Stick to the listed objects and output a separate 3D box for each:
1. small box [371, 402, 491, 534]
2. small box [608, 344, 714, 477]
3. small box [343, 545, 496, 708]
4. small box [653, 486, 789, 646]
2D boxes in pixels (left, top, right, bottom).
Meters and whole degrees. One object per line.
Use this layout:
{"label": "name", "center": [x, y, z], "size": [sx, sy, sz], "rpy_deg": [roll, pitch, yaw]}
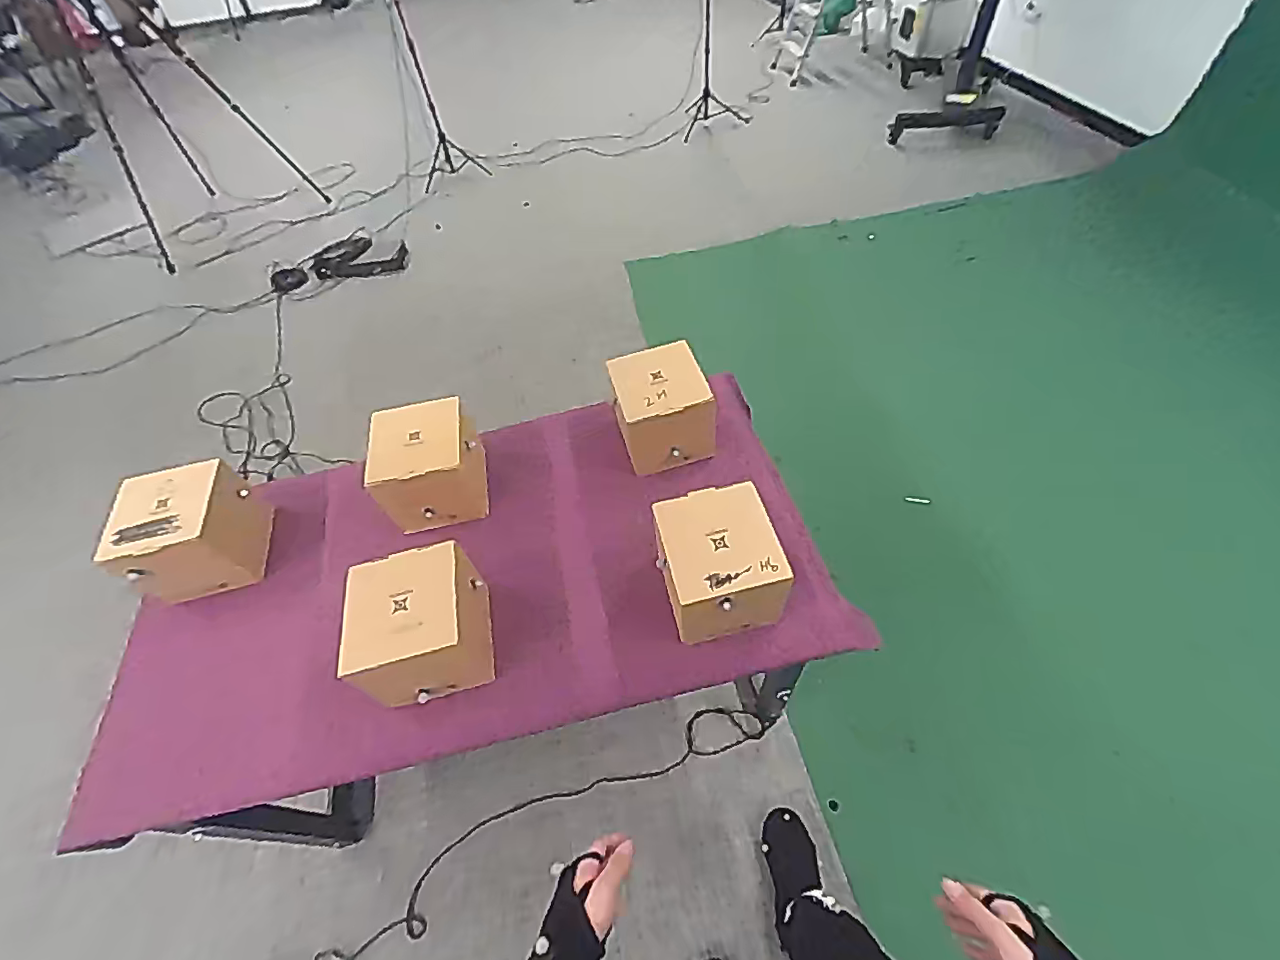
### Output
{"label": "small box", "center": [-0.397, -0.020, 1.053], "size": [0.168, 0.176, 0.179], "rpy_deg": [-12, 55, -3]}
{"label": "small box", "center": [0.044, -0.135, 1.076], "size": [0.168, 0.176, 0.179], "rpy_deg": [-17, 55, -2]}
{"label": "small box", "center": [-0.337, 0.235, 0.858], "size": [0.168, 0.176, 0.179], "rpy_deg": [-15, 53, -2]}
{"label": "small box", "center": [0.122, 0.140, 0.865], "size": [0.168, 0.176, 0.179], "rpy_deg": [-14, 54, -1]}
